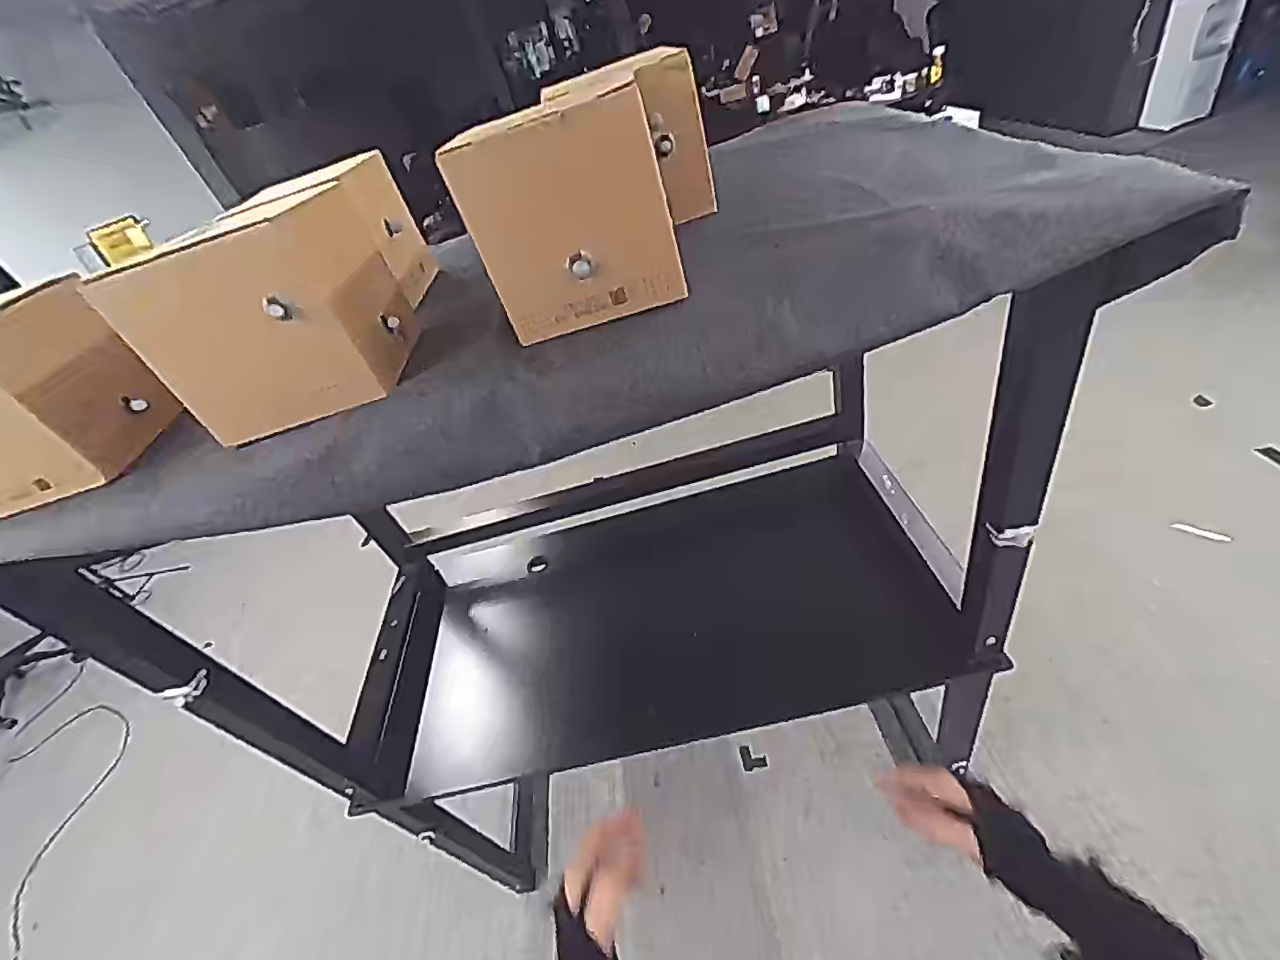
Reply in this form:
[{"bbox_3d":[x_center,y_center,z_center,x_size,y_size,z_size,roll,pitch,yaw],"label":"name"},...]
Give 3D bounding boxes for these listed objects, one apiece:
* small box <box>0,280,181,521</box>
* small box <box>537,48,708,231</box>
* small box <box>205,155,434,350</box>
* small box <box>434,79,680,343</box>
[{"bbox_3d":[-0.646,-0.080,0.568,0.168,0.176,0.179,-18,39,4],"label":"small box"},{"bbox_3d":[-0.021,-0.411,0.681,0.168,0.176,0.179,-16,40,3],"label":"small box"},{"bbox_3d":[-0.404,-0.301,0.723,0.179,0.176,0.168,-16,40,7],"label":"small box"},{"bbox_3d":[-0.064,-0.256,0.520,0.168,0.176,0.179,-14,39,9],"label":"small box"}]
